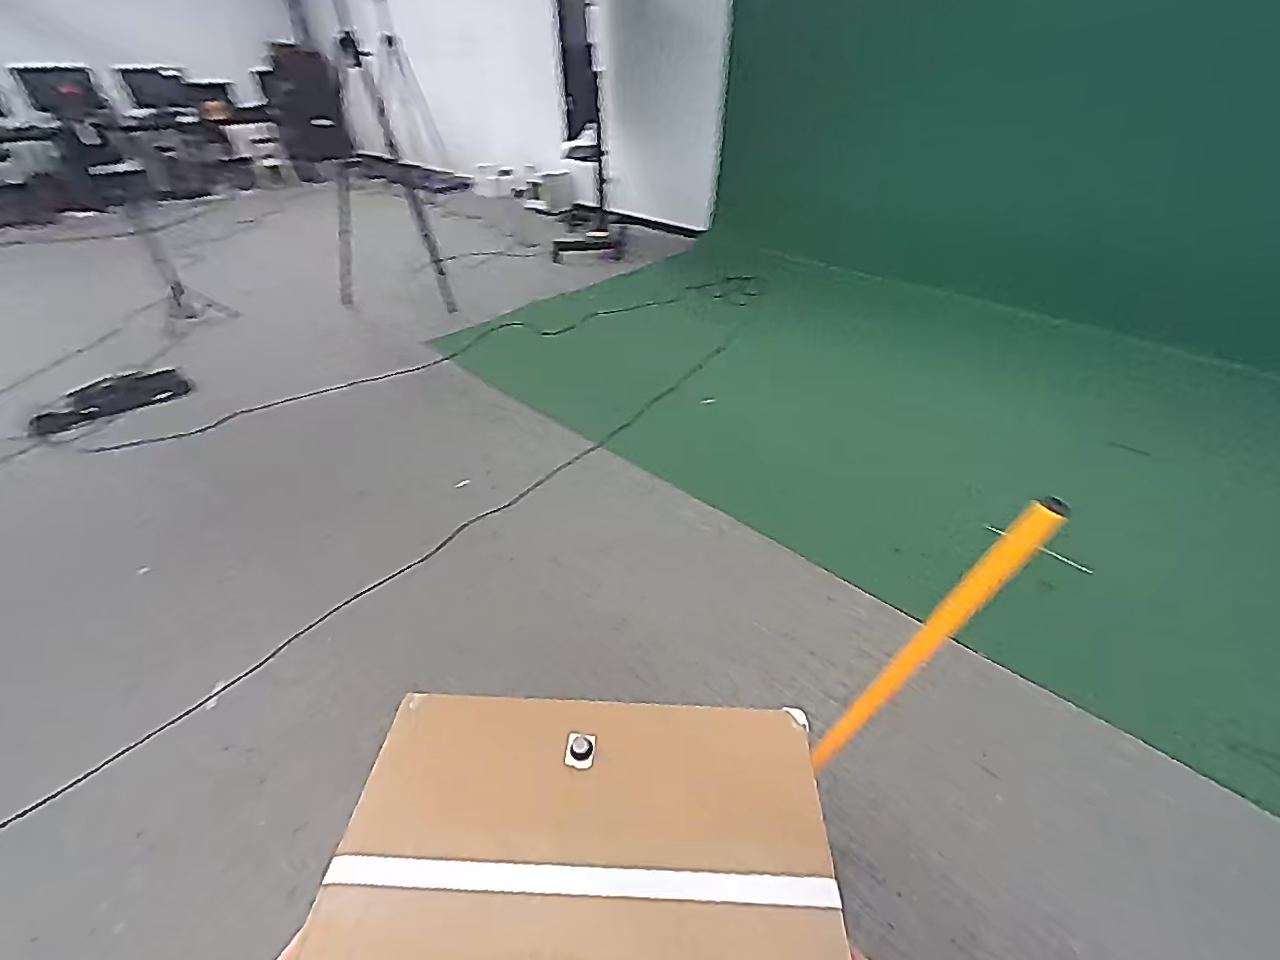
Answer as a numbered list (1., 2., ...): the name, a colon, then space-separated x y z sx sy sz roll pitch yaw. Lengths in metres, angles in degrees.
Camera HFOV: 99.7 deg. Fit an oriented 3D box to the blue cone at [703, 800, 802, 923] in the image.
1. blue cone: 0.273 0.772 1.169 0.193 0.380 0.192 29 47 28
